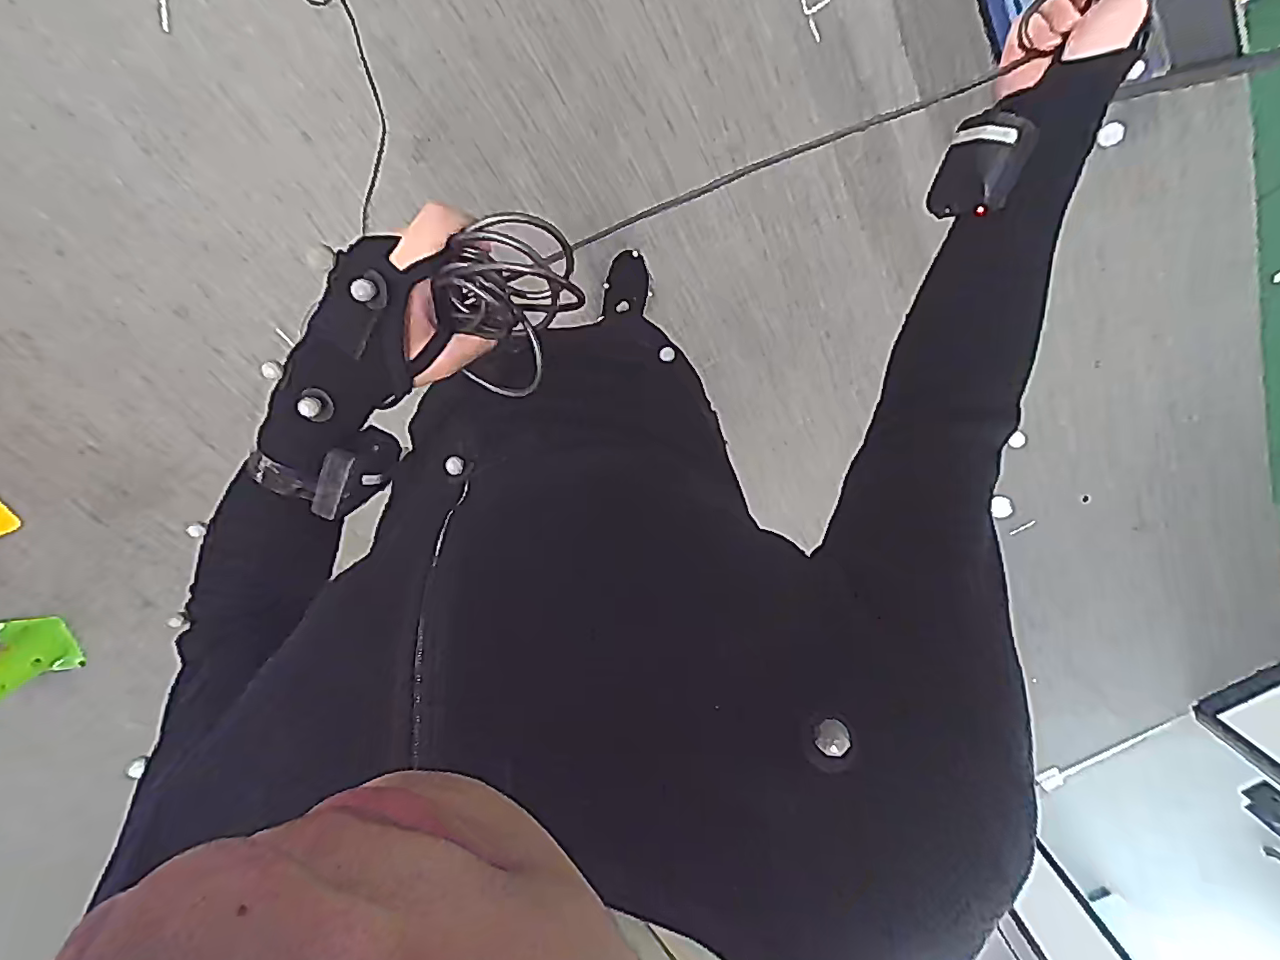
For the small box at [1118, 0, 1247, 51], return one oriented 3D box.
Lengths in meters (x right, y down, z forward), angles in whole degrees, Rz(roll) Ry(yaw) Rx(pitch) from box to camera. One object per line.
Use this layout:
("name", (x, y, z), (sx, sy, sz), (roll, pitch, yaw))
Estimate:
("small box", (1.133, -1.030, 1.099), (0.179, 0.176, 0.168), (-32, 114, 9))
